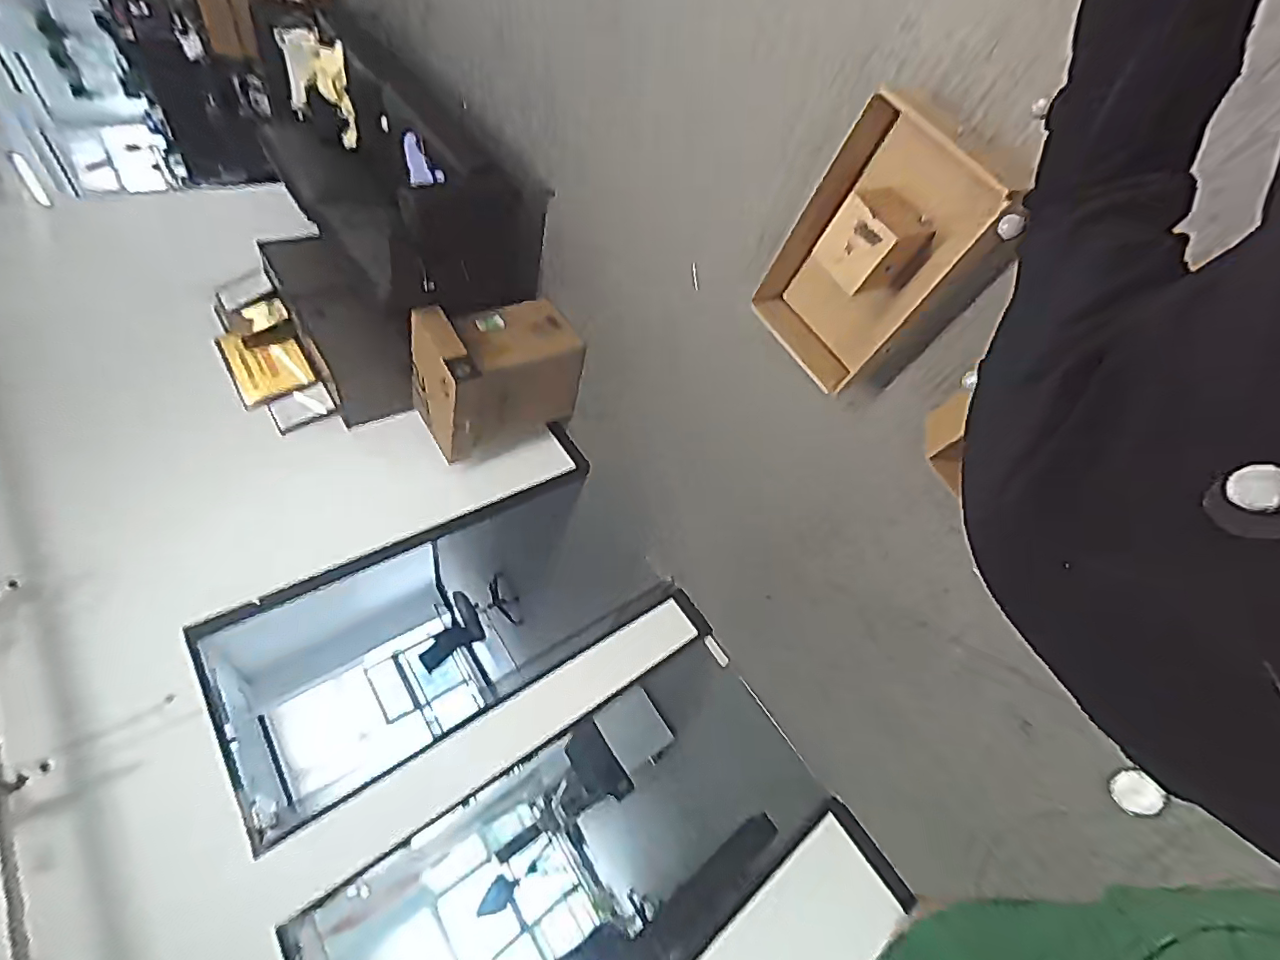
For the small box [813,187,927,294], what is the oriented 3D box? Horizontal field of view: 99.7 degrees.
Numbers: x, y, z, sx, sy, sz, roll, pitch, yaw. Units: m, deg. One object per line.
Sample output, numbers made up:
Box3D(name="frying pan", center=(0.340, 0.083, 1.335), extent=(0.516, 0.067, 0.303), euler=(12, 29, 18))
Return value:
Box3D(name="small box", center=(0.577, -0.600, 1.347), extent=(0.168, 0.176, 0.179), euler=(57, 150, 16))
